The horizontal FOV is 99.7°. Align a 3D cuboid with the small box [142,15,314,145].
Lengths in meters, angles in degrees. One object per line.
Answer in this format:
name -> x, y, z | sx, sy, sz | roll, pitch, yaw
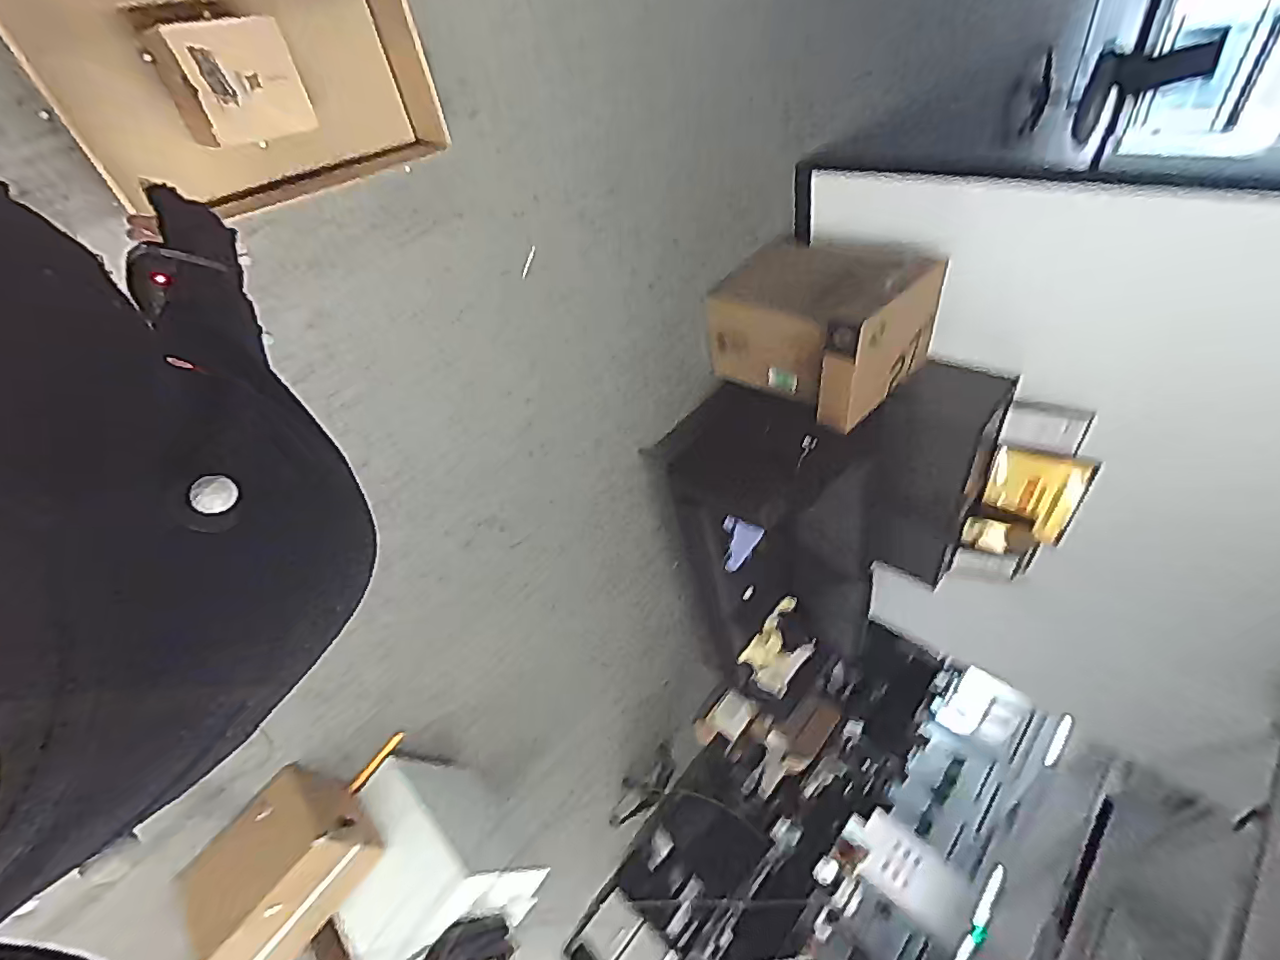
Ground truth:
small box -> -0.731, -0.705, 0.958 | 0.179, 0.176, 0.168 | -38, 139, -32
